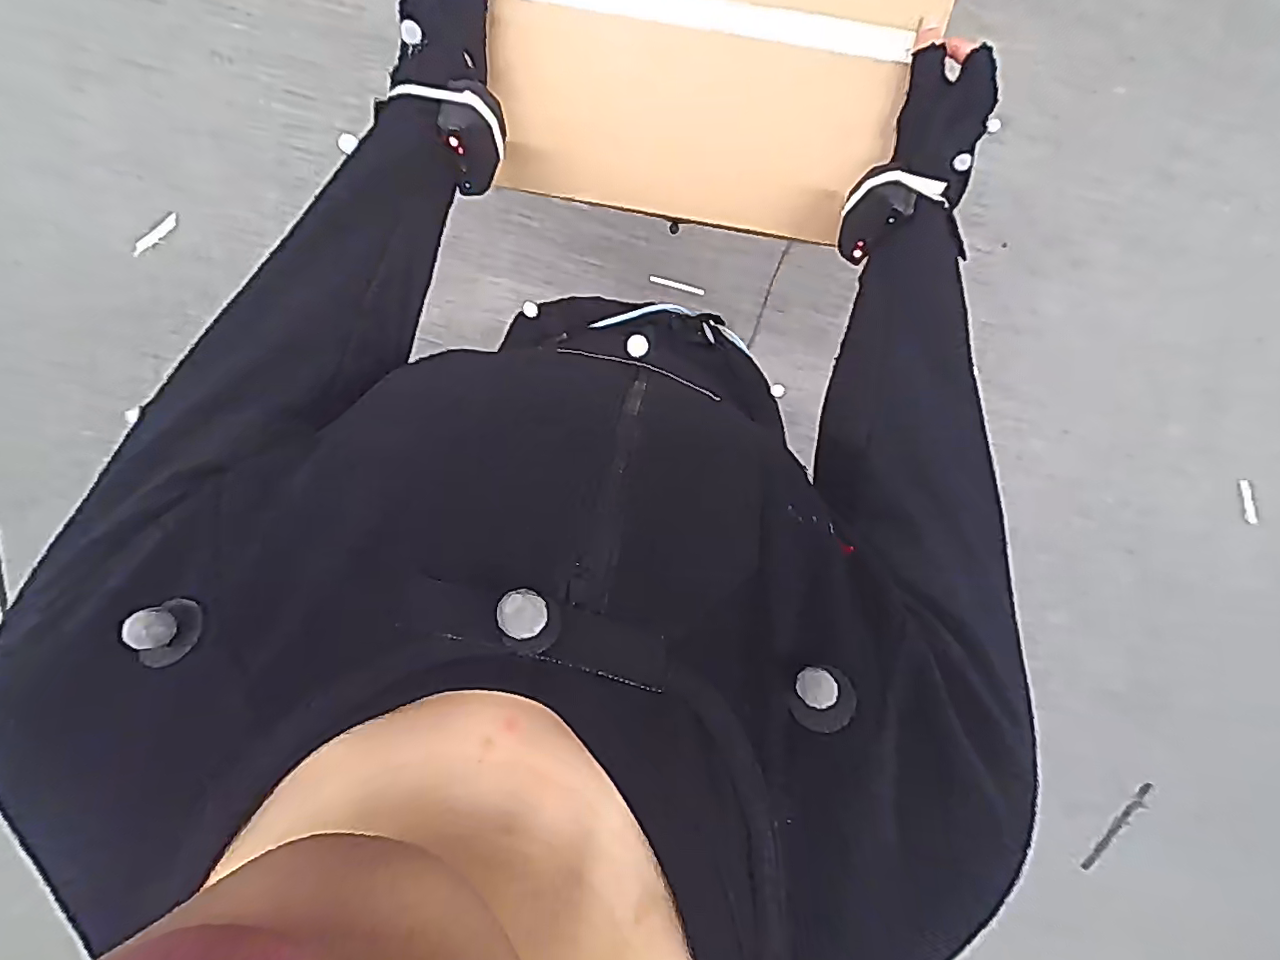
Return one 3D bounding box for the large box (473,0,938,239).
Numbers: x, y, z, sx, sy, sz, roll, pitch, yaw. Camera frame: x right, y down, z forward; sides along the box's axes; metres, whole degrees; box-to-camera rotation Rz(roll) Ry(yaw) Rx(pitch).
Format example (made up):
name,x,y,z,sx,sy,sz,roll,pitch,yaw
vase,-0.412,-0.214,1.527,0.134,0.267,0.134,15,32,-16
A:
name,x,y,z,sx,sy,sz,roll,pitch,yaw
large box,0.067,-0.470,0.604,0.408,0.320,0.320,11,115,1
